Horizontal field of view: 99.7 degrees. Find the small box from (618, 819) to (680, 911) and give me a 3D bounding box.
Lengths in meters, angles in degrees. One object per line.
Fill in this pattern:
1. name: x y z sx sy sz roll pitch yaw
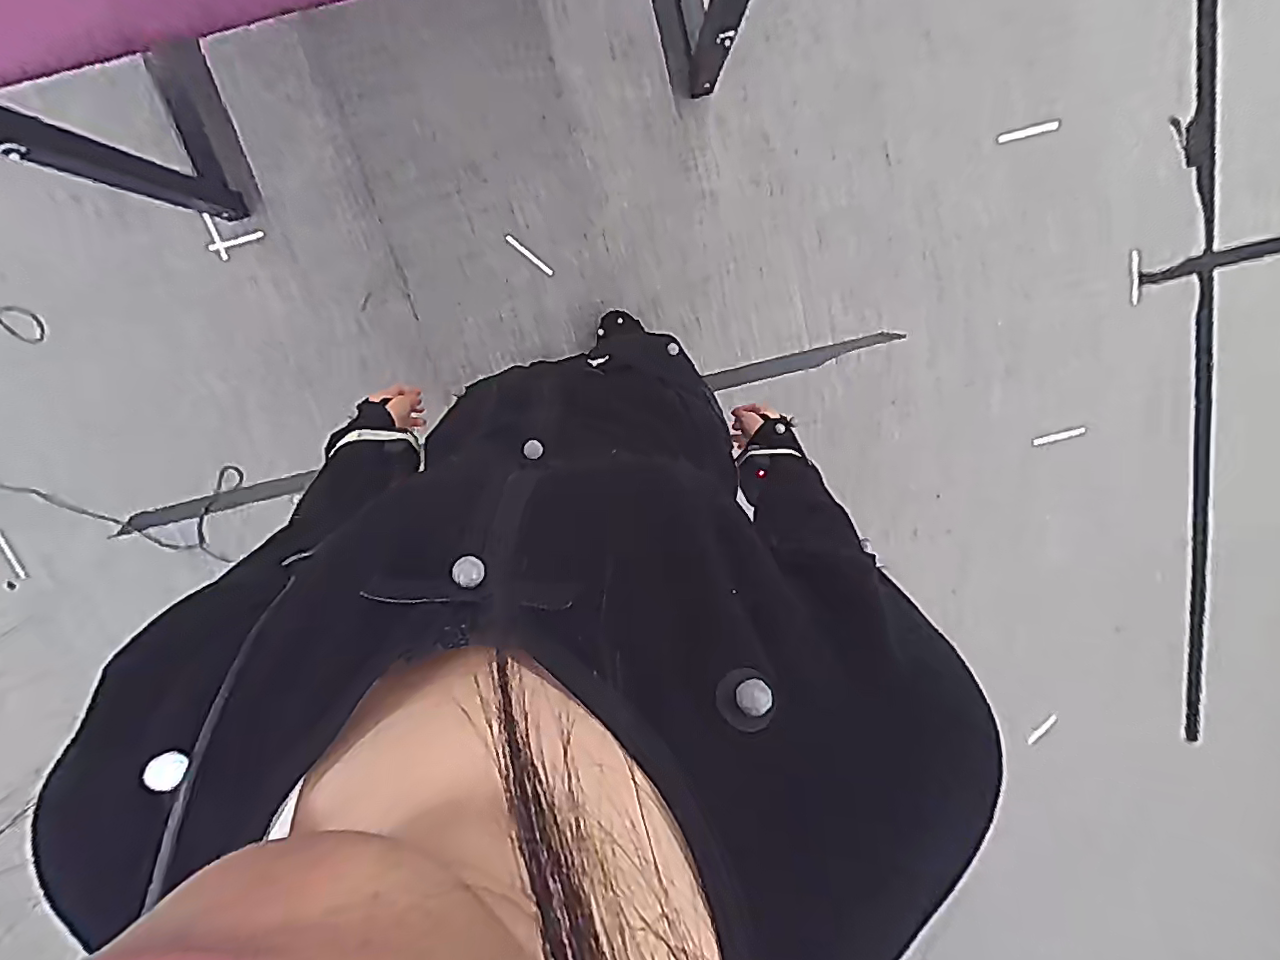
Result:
1. small box: 0.026 1.237 1.756 0.168 0.176 0.179 -15 106 2
